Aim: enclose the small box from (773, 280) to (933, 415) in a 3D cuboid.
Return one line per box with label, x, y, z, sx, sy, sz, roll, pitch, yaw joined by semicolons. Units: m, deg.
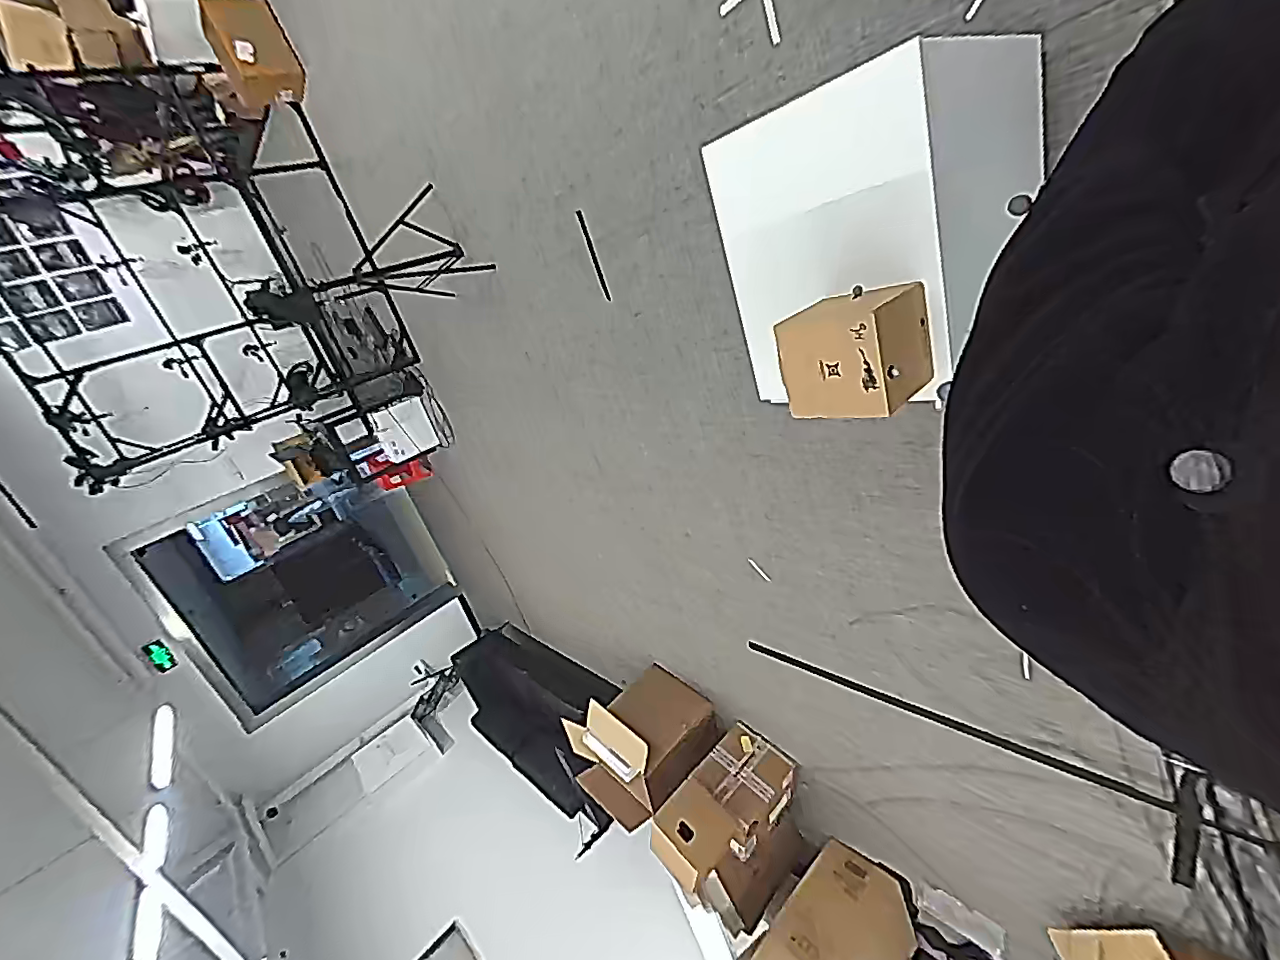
small box;0.352;-0.216;0.891;0.179;0.176;0.168;9;124;51
